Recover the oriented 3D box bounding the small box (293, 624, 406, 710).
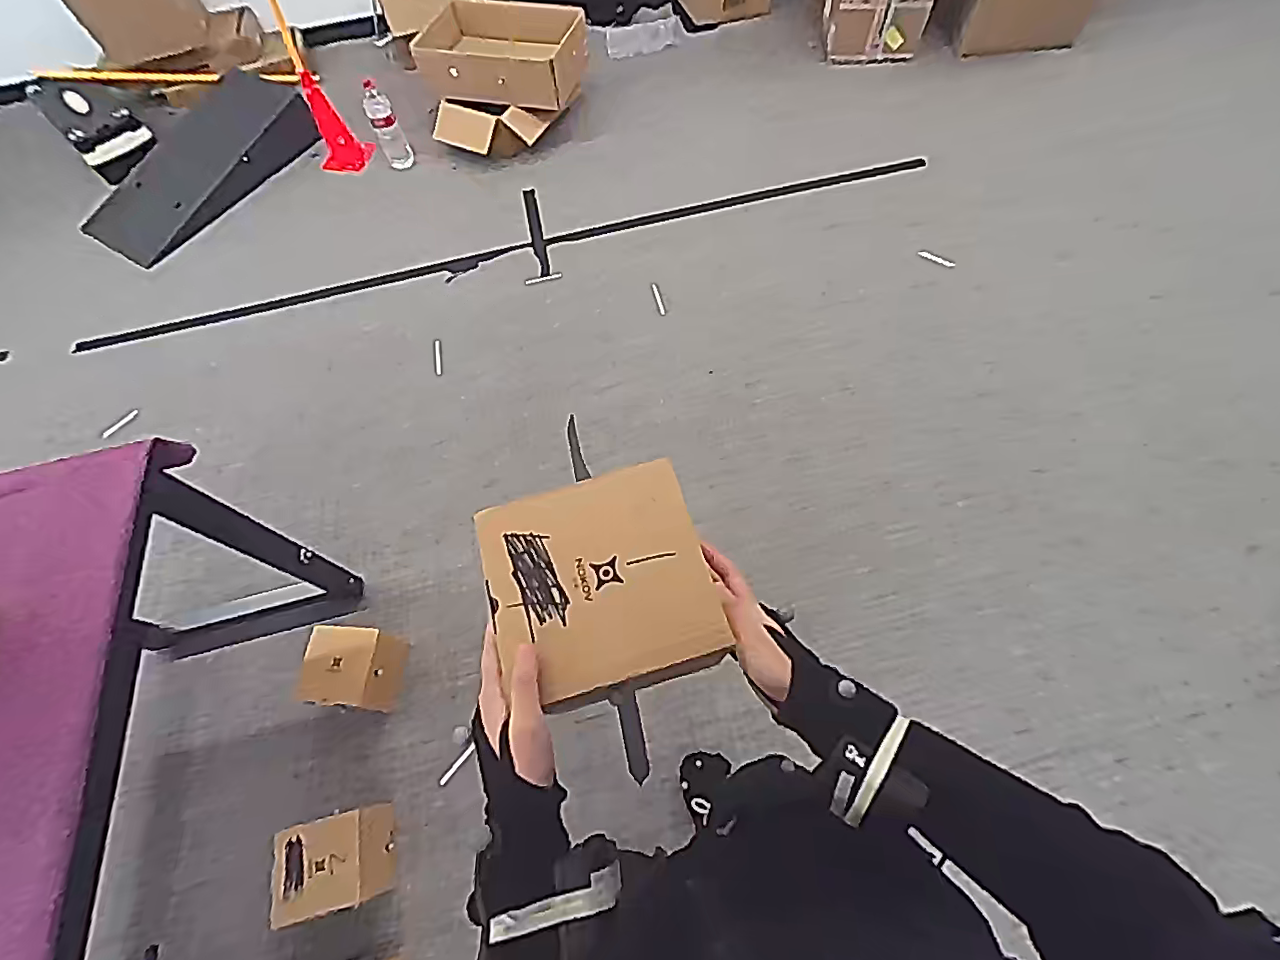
[{"bbox_3d":[-0.702,0.465,1.334,0.168,0.176,0.179,2,64,4],"label":"small box"}]

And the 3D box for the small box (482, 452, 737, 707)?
[{"bbox_3d":[-0.025,0.102,0.499,0.179,0.176,0.168,-16,66,-4],"label":"small box"}]
